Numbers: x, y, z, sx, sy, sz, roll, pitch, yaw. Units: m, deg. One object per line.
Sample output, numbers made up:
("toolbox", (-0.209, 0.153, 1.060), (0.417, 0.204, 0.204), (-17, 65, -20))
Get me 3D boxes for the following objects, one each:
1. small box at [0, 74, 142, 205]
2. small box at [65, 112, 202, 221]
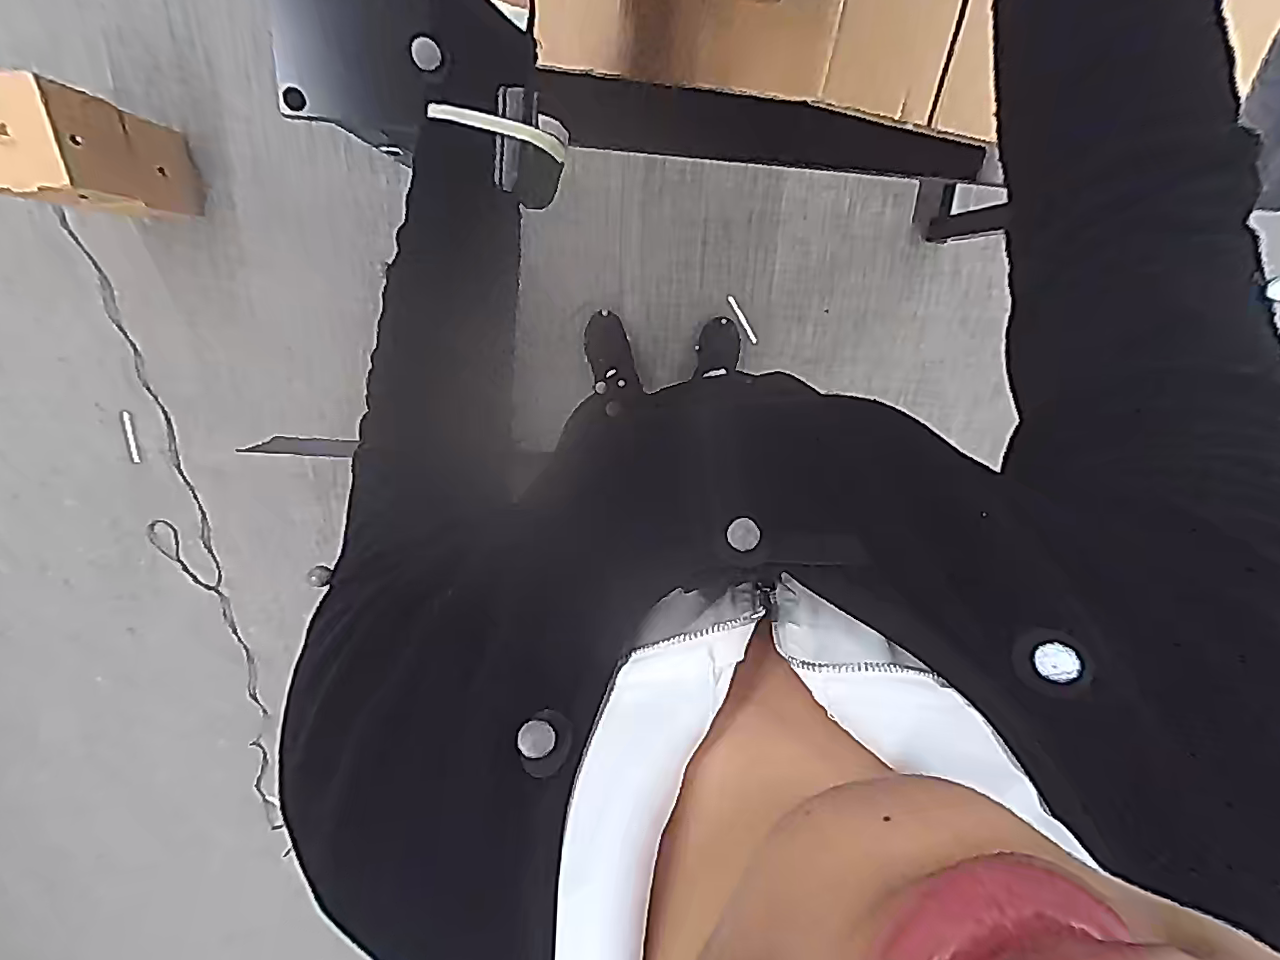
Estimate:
("small box", (-1.085, -0.613, 0.997), (0.168, 0.176, 0.179), (-4, 108, -3))
("small box", (-1.092, -0.661, 1.152), (0.168, 0.176, 0.179), (-1, 110, -3))
